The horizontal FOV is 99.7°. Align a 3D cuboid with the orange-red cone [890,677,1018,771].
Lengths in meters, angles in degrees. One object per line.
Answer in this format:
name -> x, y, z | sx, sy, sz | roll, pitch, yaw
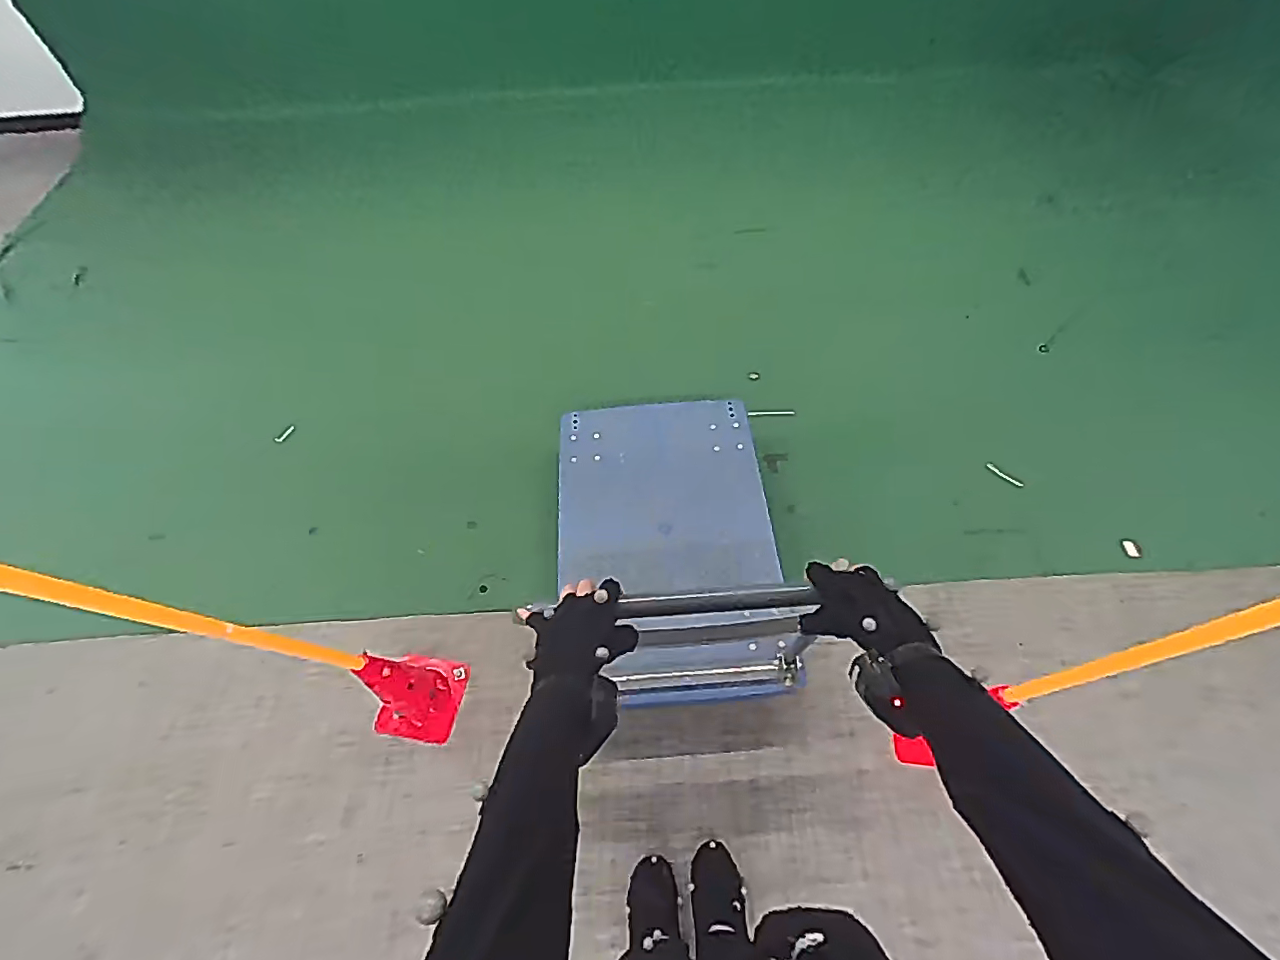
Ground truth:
orange-red cone -> 0.718, 0.508, 1.190 | 0.198, 0.360, 0.199 | 6, 59, 6
